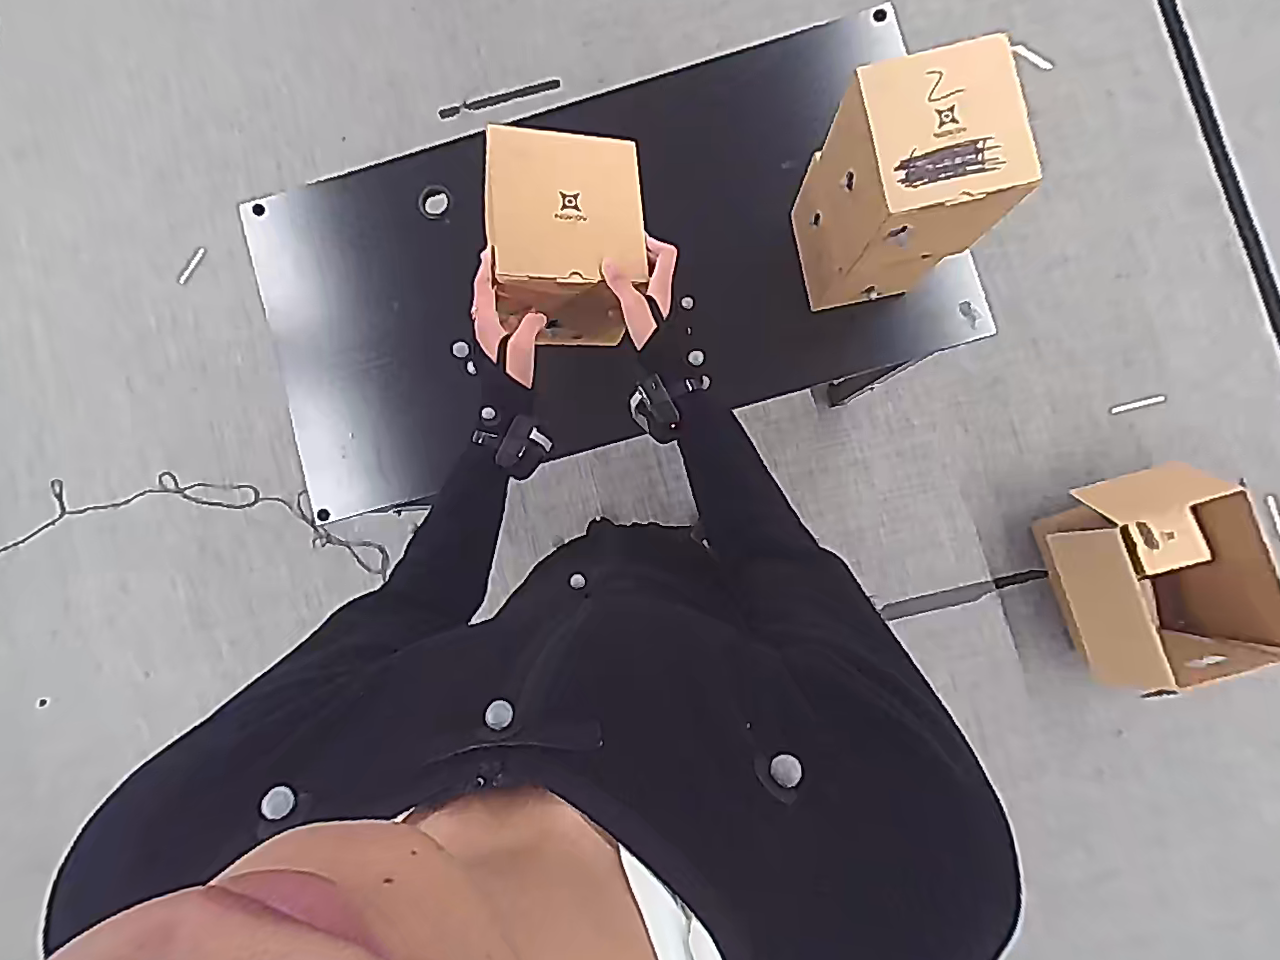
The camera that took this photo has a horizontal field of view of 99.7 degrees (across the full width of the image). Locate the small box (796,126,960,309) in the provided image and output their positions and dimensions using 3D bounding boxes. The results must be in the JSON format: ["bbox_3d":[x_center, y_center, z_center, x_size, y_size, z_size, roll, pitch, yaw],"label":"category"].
[{"bbox_3d":[0.347,-0.387,0.824,0.168,0.176,0.179,-11,87,4],"label":"small box"}]

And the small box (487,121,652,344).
[{"bbox_3d":[-0.094,-0.280,0.649,0.168,0.176,0.179,-4,83,-16],"label":"small box"}]
